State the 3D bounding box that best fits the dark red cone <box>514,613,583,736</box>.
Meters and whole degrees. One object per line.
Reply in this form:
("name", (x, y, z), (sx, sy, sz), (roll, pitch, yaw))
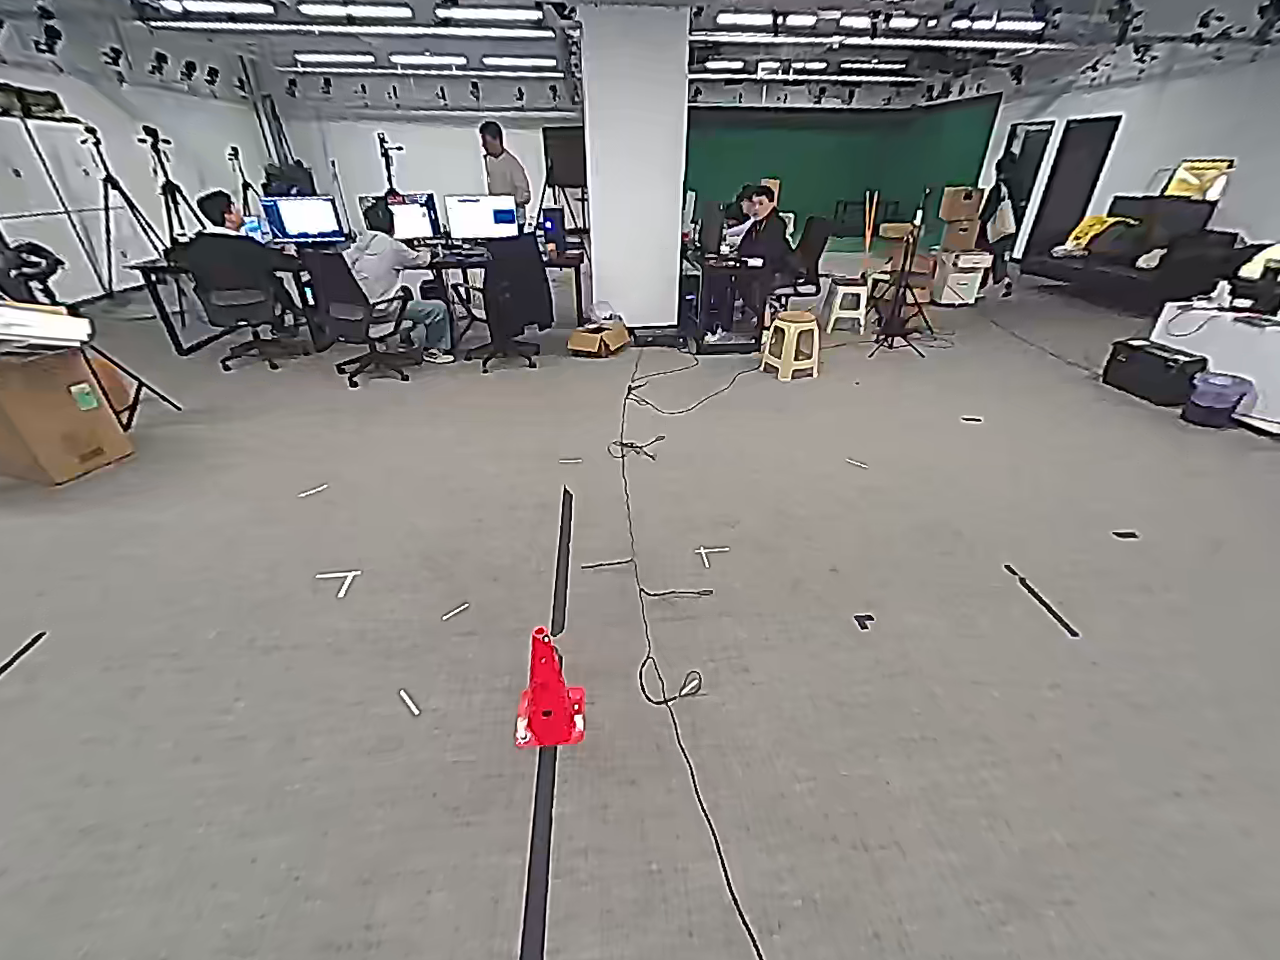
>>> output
("dark red cone", (-0.269, 0.541, 1.549), (0.201, 0.394, 0.202), (-1, 30, -5))
